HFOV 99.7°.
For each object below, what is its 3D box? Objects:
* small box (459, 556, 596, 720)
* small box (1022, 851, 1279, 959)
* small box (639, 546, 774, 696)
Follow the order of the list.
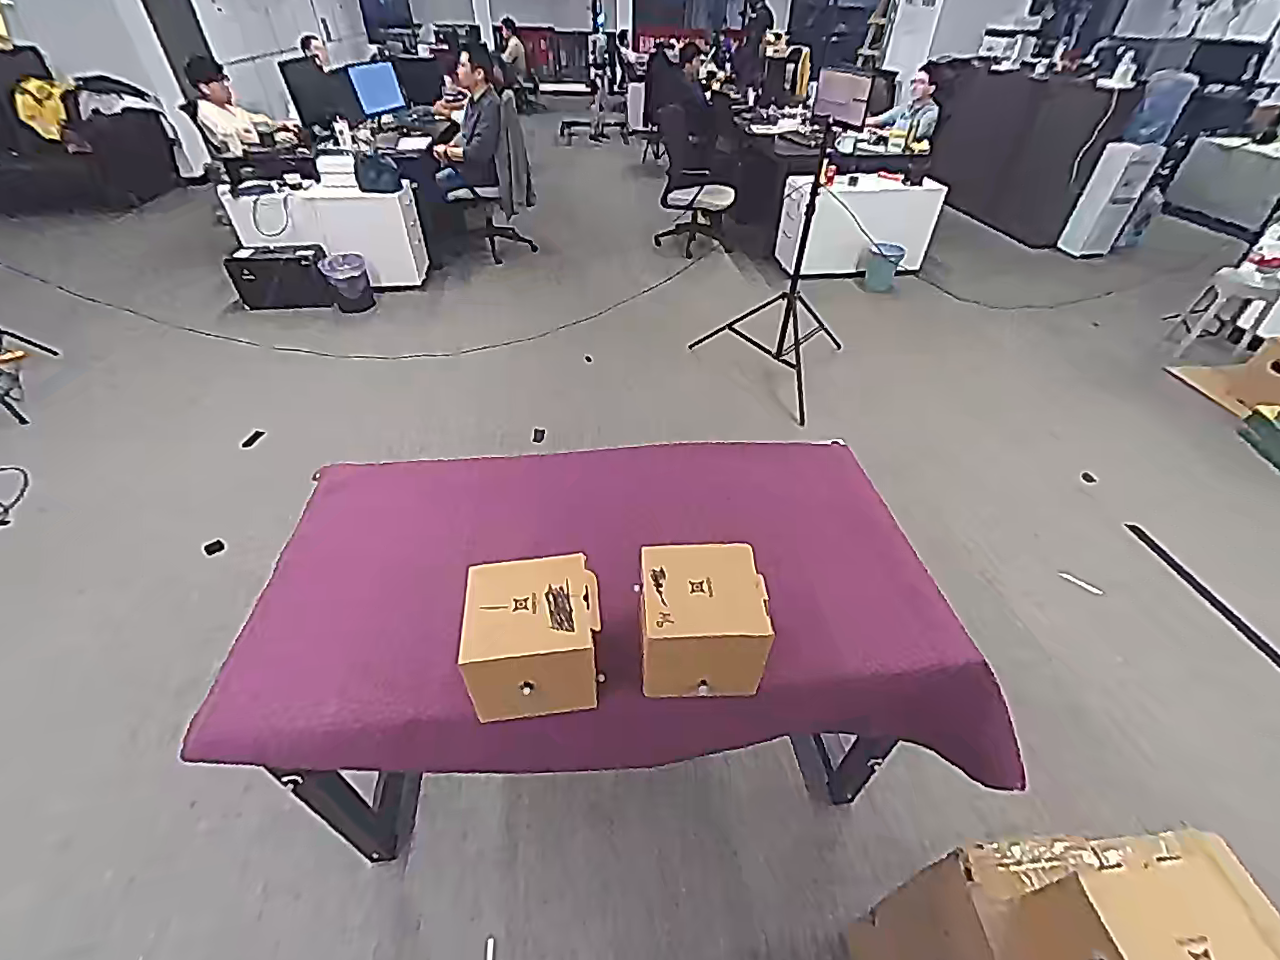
[{"bbox_3d":[-0.158,0.238,0.816,0.179,0.176,0.168,-5,41,-6],"label":"small box"},{"bbox_3d":[0.595,0.560,0.622,0.168,0.176,0.179,-6,43,-4],"label":"small box"},{"bbox_3d":[0.091,0.220,0.844,0.179,0.176,0.168,0,40,-3],"label":"small box"}]
